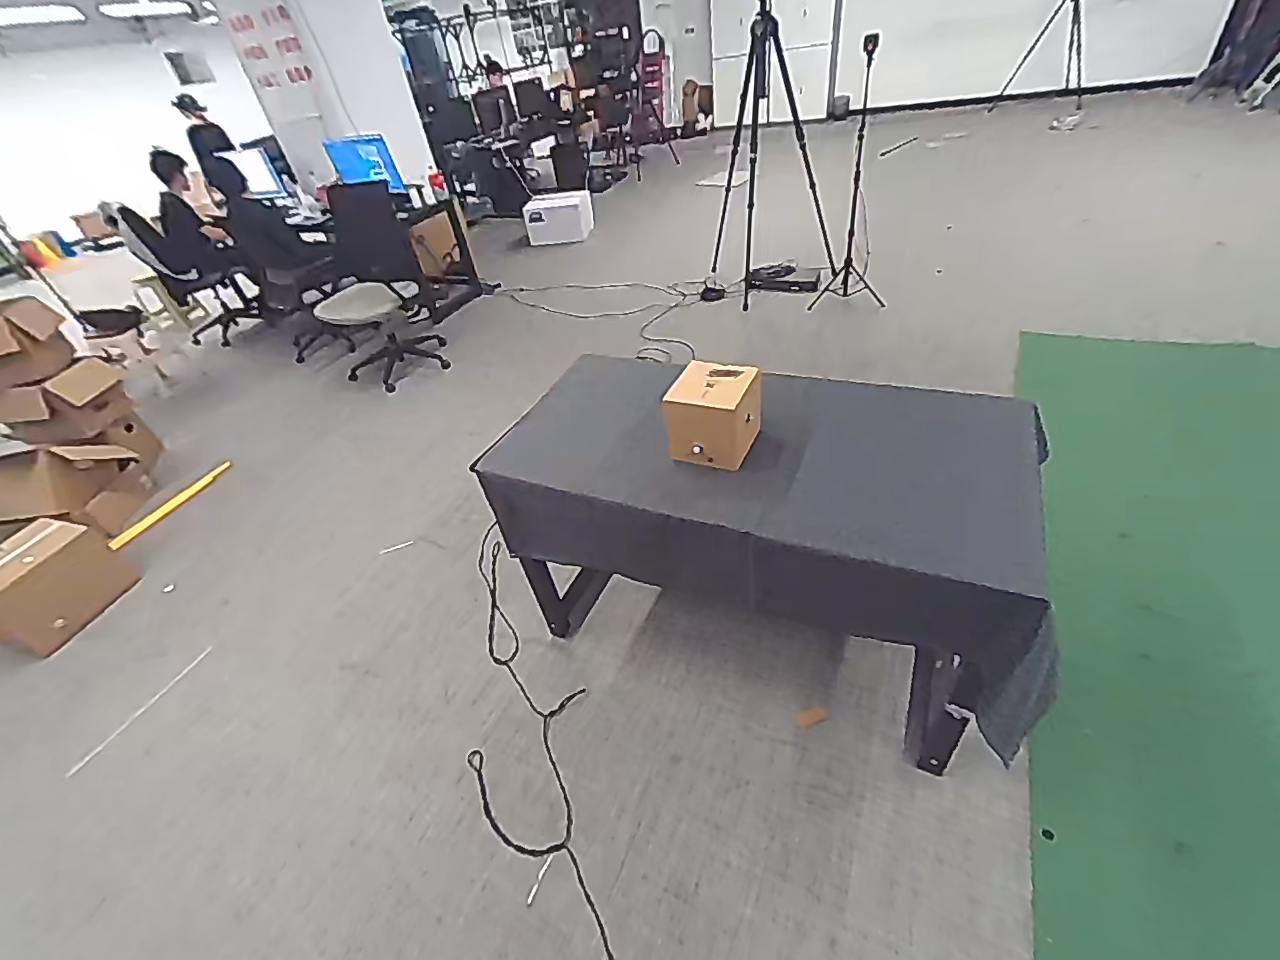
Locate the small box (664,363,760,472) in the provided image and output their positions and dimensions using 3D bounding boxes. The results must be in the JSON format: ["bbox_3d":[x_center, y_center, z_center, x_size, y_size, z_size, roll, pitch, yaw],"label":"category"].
[{"bbox_3d":[0.169,-0.146,1.237,0.168,0.176,0.179,12,44,25],"label":"small box"}]
